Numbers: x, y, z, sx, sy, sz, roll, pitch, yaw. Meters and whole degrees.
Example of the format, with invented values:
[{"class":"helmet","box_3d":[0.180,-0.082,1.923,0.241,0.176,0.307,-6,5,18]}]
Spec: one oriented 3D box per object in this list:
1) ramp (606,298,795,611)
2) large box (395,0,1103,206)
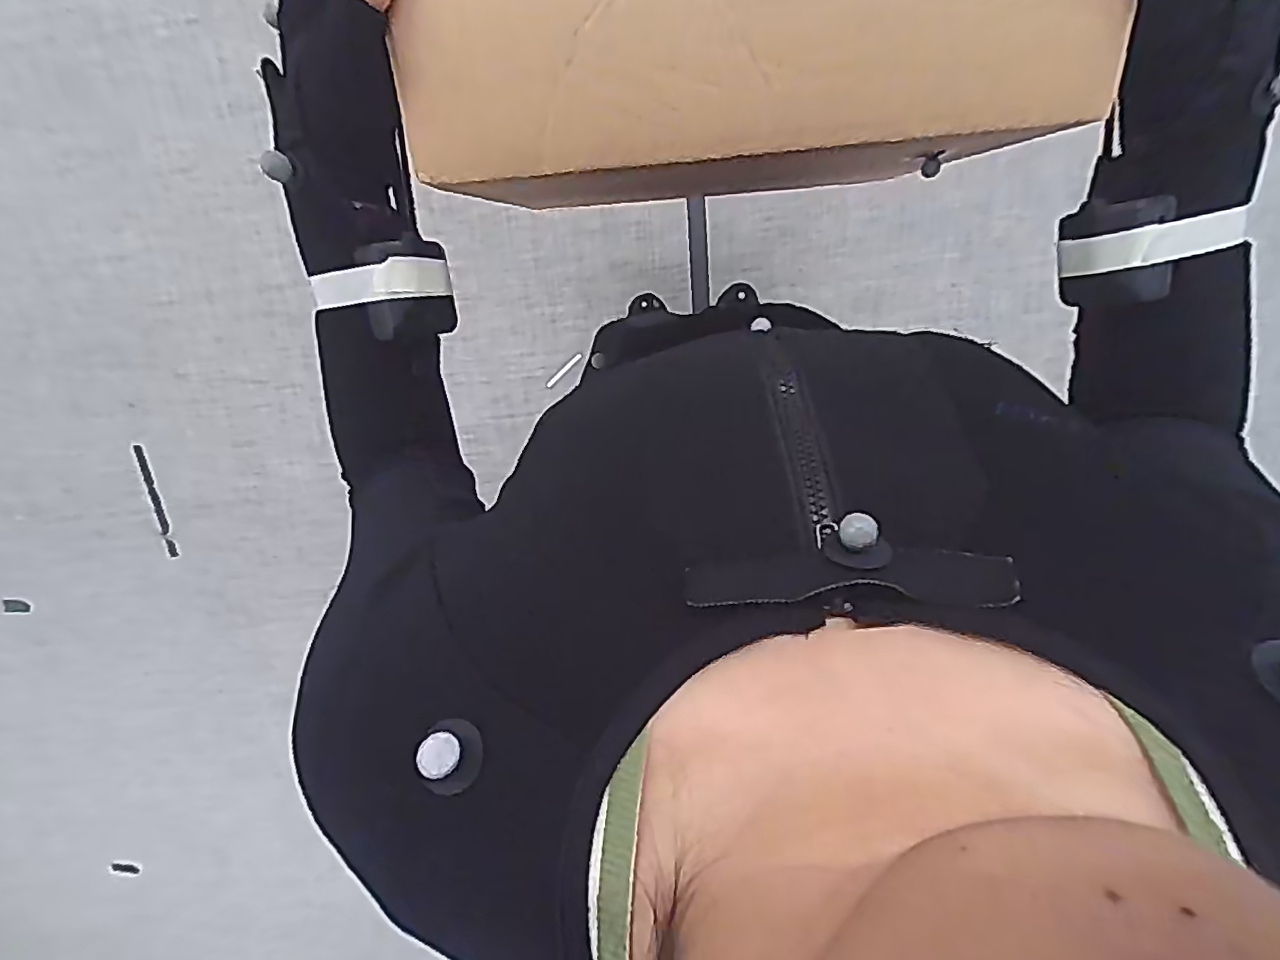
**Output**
[{"class":"ramp","box_3d":[0.206,-0.006,1.611,0.509,0.206,0.991,-6,108,4]},{"class":"large box","box_3d":[0.058,-0.401,0.408,0.408,0.320,0.320,-3,114,4]}]
